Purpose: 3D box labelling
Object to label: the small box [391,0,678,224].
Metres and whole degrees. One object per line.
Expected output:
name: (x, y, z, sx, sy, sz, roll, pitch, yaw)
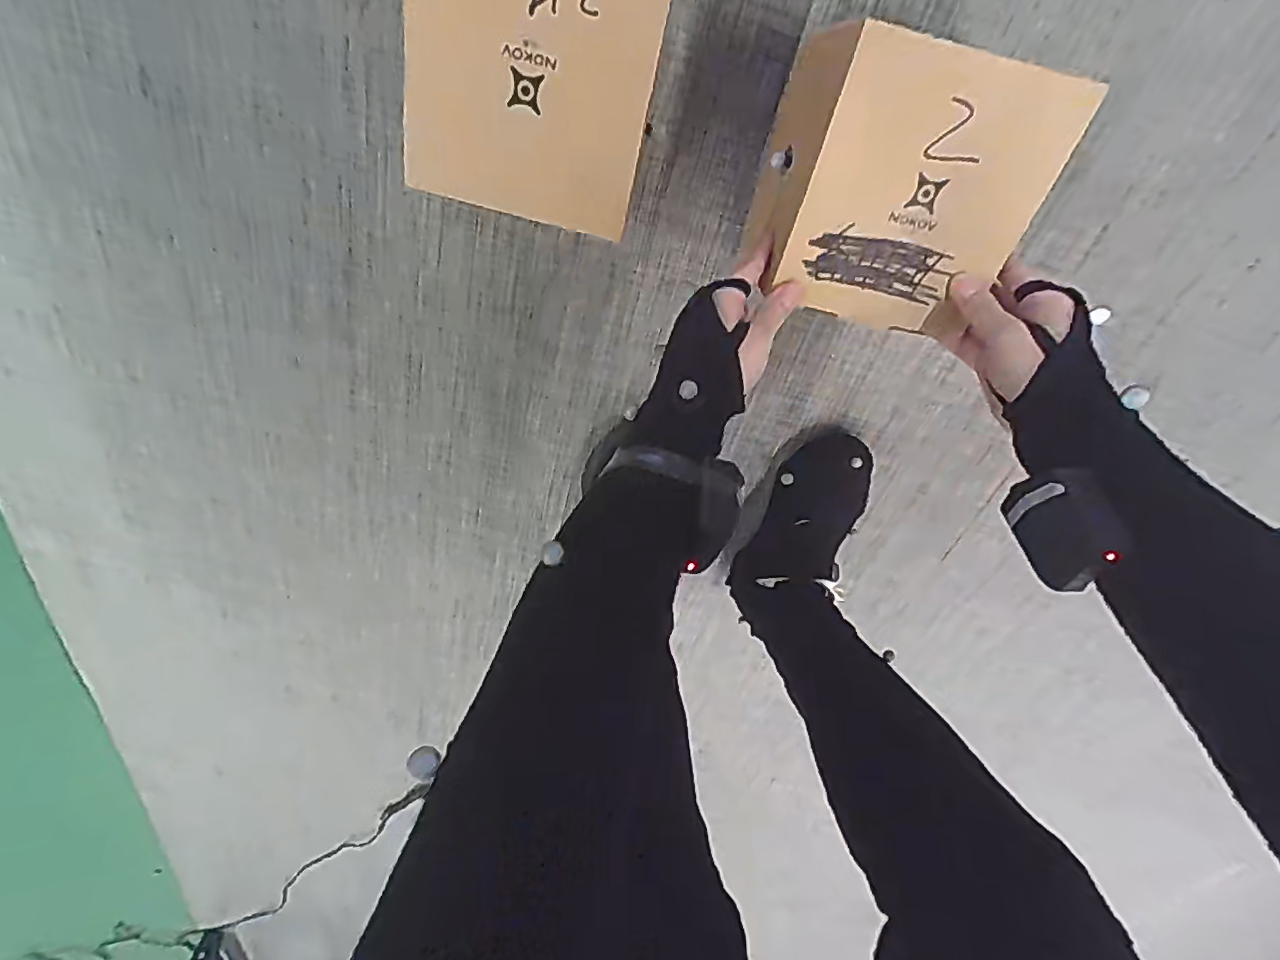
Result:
small box: (-0.069, -0.321, 0.407, 0.168, 0.176, 0.179, 14, 123, -7)
